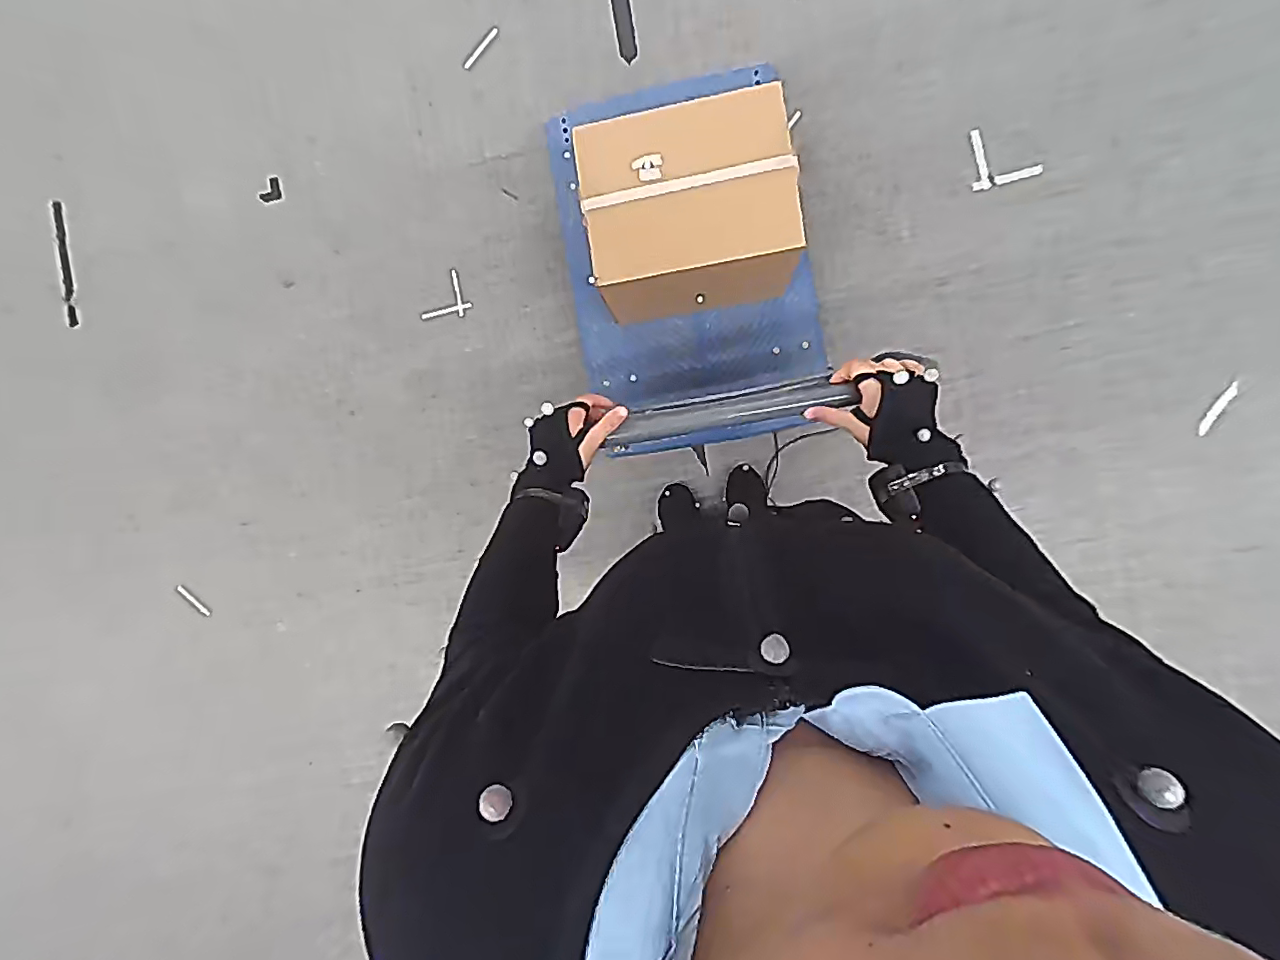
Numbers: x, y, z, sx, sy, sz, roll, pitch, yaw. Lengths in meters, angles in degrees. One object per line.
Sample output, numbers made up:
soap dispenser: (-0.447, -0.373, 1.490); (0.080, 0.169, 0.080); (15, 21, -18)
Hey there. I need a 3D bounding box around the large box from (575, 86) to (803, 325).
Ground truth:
large box: (0.108, -0.564, 1.187); (0.408, 0.320, 0.320); (-9, 89, 7)
